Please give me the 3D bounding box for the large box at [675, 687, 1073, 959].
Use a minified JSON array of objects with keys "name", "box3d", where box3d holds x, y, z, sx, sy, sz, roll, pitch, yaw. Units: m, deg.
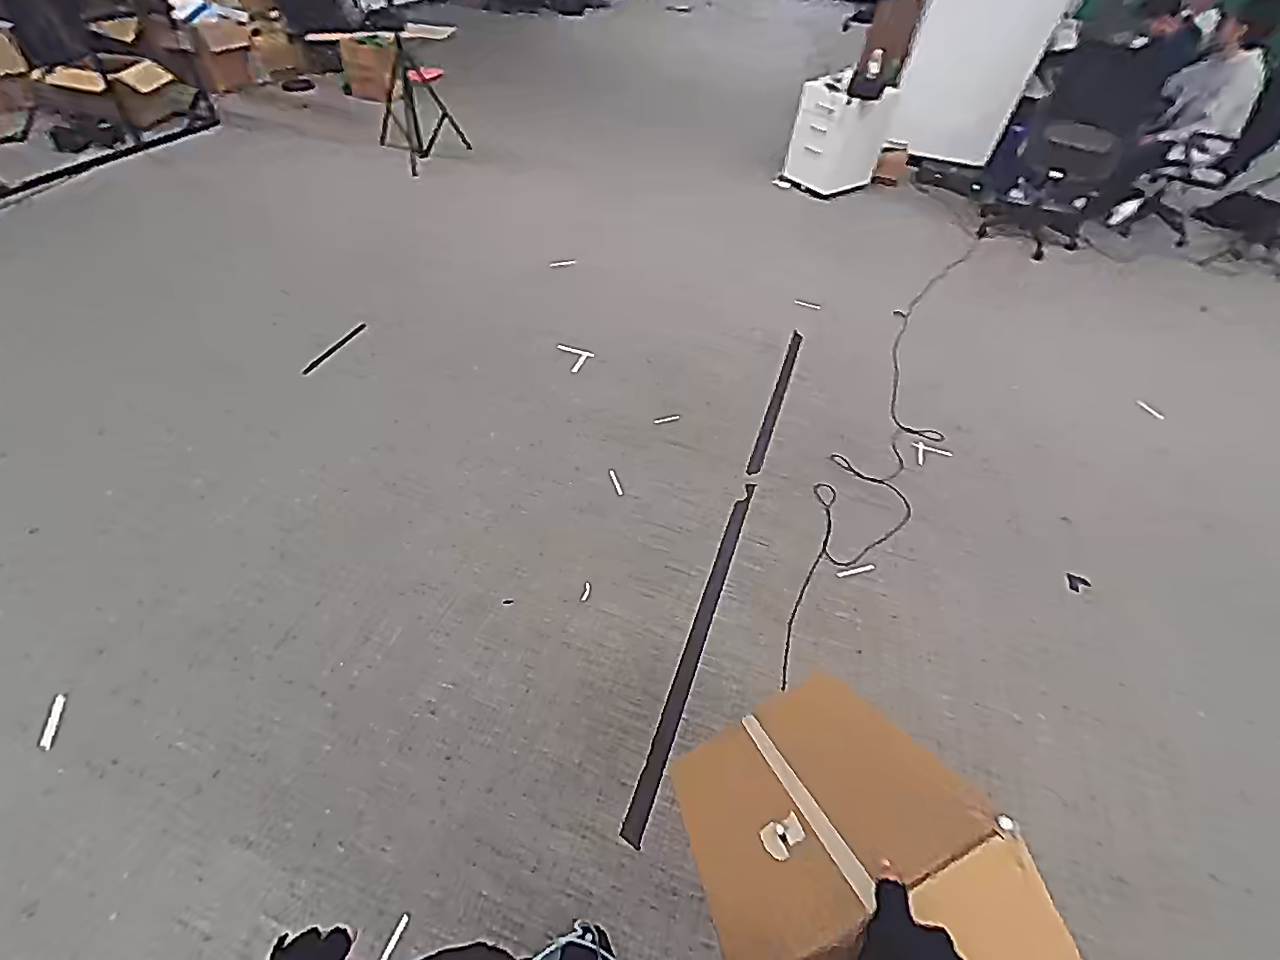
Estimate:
[{"name":"large box","box3d":[0.279,0.552,0.712,0.320,0.408,0.320,-29,94,-4]}]
